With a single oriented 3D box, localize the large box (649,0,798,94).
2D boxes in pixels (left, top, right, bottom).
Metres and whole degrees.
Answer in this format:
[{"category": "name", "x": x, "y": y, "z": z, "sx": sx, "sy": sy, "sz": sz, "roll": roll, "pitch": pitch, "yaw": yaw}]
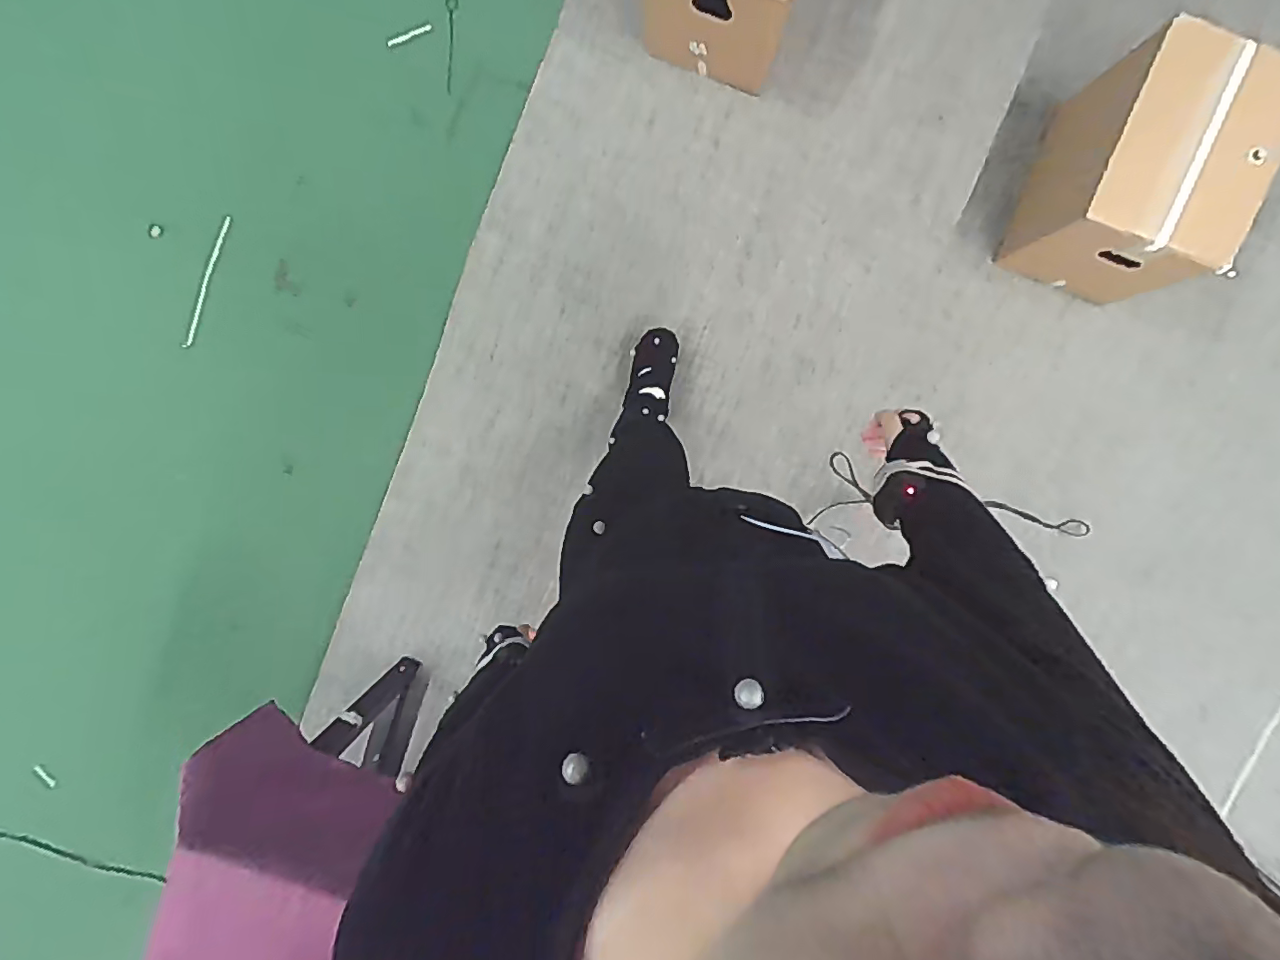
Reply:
[{"category": "large box", "x": 0.226, "y": -1.191, "z": 1.201, "sx": 0.320, "sy": 0.320, "sz": 0.408, "roll": 21, "pitch": 95, "yaw": 0}]
